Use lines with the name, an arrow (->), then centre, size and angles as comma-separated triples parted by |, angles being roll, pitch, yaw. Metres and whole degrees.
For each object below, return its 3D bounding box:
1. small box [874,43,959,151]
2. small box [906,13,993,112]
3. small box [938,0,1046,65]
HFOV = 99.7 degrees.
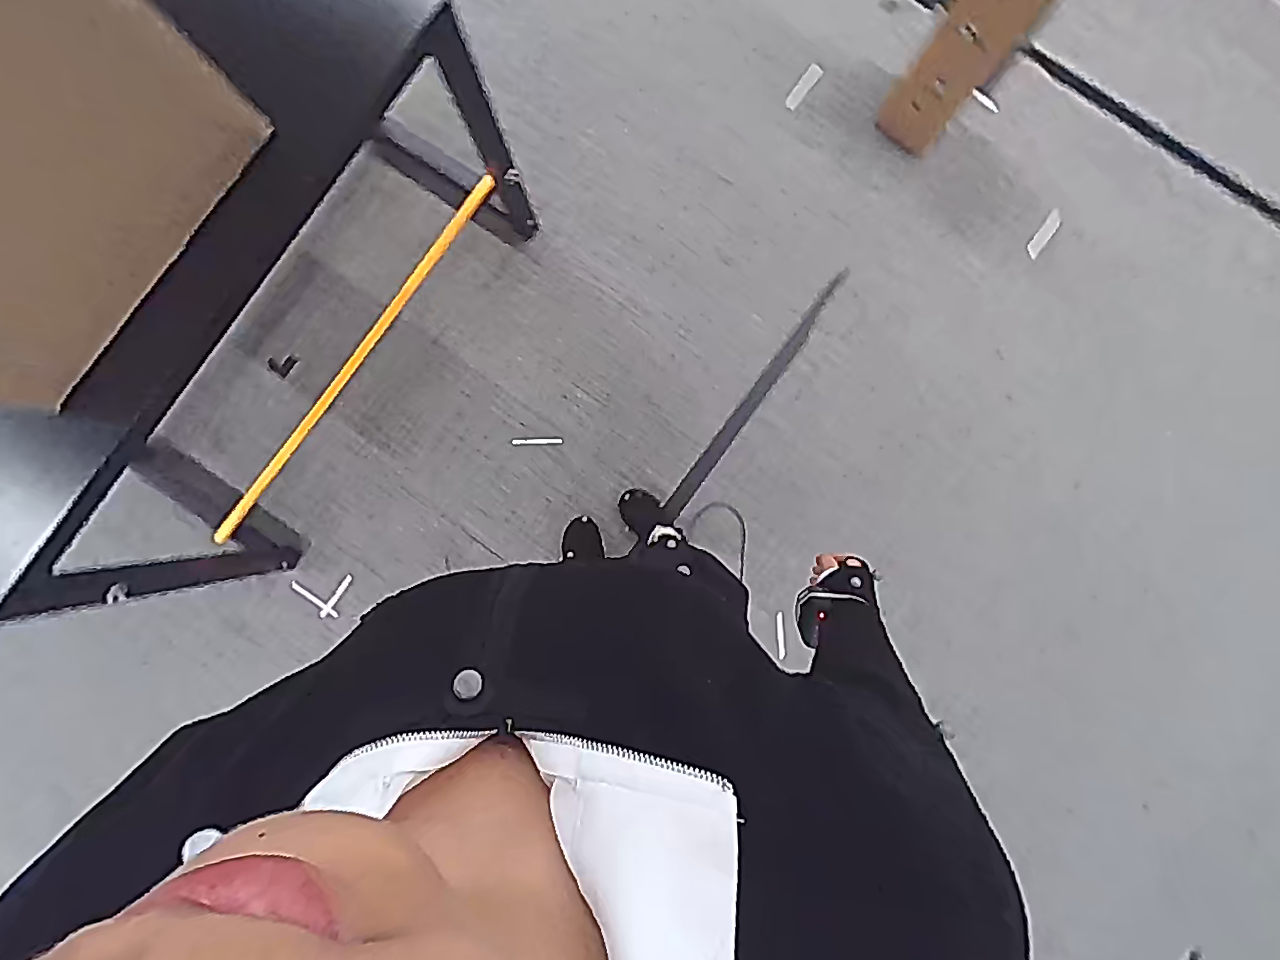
small box -> 0.772, -1.040, 1.459 | 0.179, 0.176, 0.168 | 39, 89, 1
small box -> 0.780, -1.045, 1.294 | 0.168, 0.176, 0.179 | 39, 89, 2
small box -> 0.772, -1.039, 1.131 | 0.168, 0.176, 0.179 | 39, 90, 2
